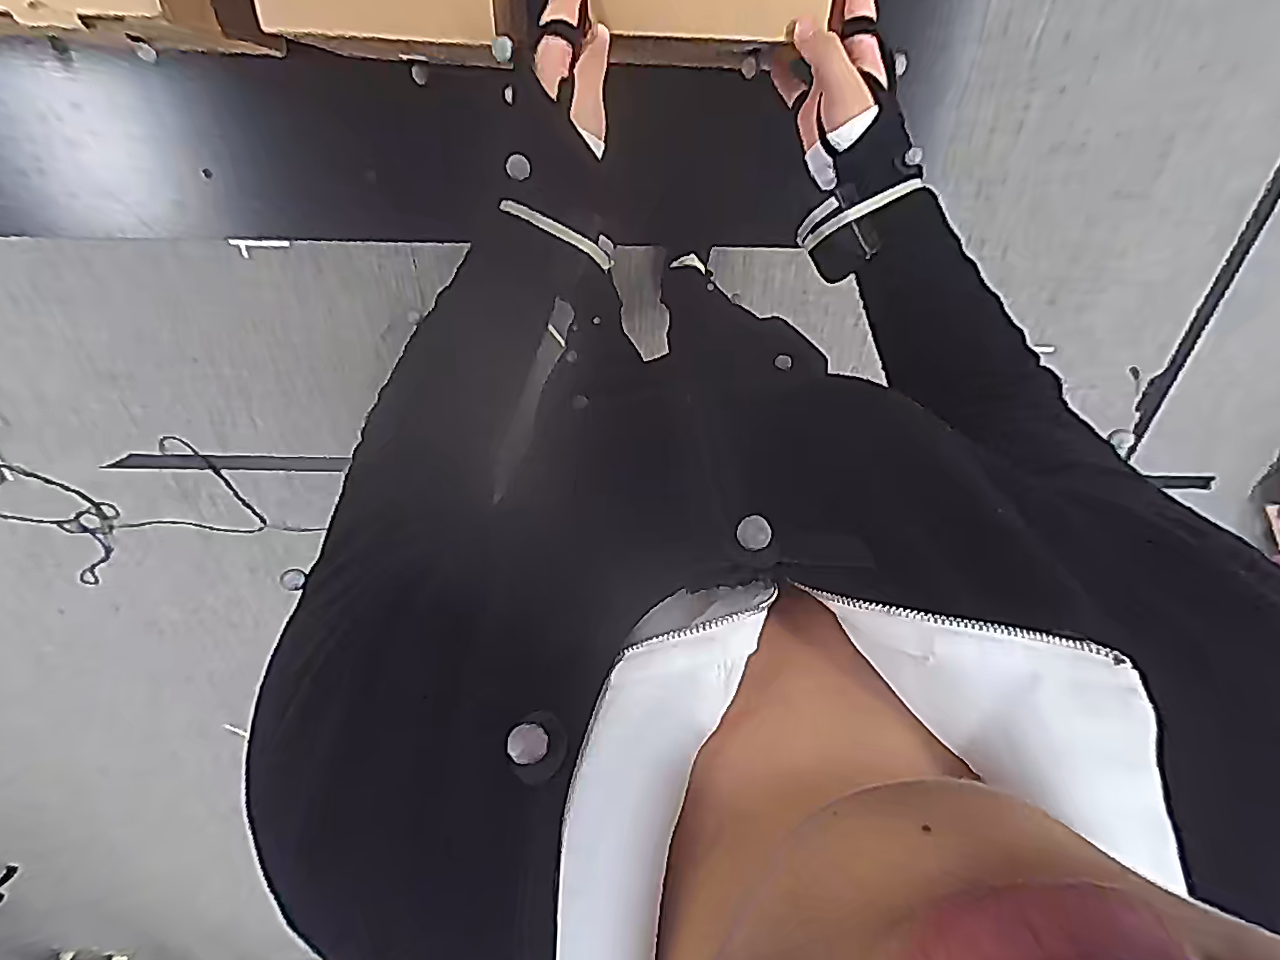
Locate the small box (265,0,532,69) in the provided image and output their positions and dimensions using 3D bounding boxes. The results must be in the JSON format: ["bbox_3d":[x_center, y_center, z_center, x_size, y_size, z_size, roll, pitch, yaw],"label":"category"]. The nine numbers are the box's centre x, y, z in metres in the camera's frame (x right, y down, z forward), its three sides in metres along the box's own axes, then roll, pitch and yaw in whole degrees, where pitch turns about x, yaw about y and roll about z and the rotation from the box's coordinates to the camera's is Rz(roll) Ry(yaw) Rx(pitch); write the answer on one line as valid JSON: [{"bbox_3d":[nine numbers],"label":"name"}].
[{"bbox_3d":[-0.180,-0.435,0.413,0.168,0.176,0.179,1,123,-2],"label":"small box"}]

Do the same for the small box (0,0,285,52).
[{"bbox_3d":[-0.405,-0.436,0.399,0.168,0.176,0.179,1,123,-3],"label":"small box"}]
